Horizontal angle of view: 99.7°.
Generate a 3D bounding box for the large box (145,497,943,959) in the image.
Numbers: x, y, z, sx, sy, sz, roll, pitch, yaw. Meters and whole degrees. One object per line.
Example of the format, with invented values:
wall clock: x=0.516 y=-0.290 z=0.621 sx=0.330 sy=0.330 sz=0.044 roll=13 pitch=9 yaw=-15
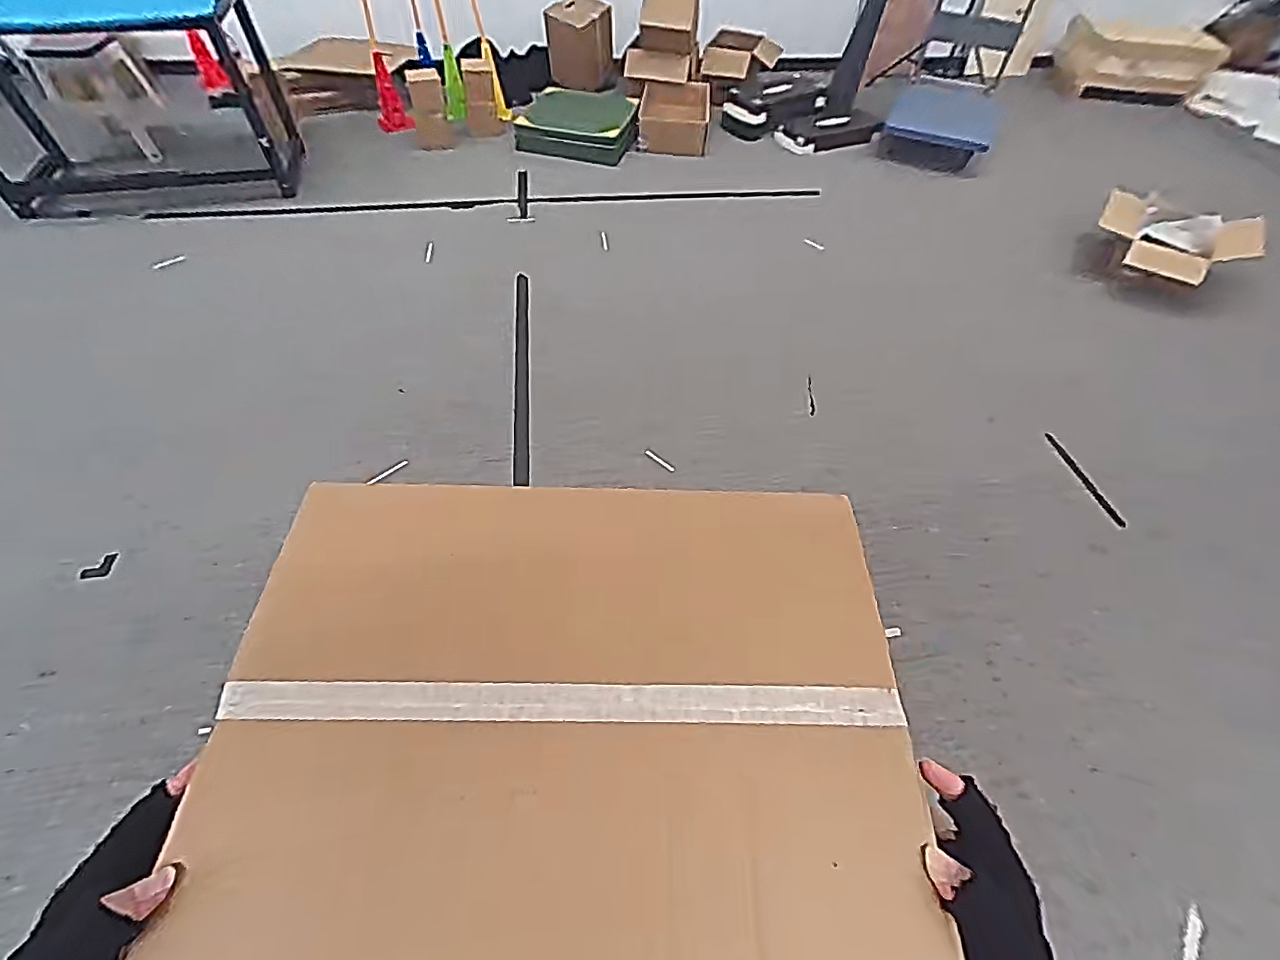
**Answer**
large box: x=-0.051 y=0.225 z=0.459 sx=0.408 sy=0.320 sz=0.320 roll=1 pitch=57 yaw=-1
